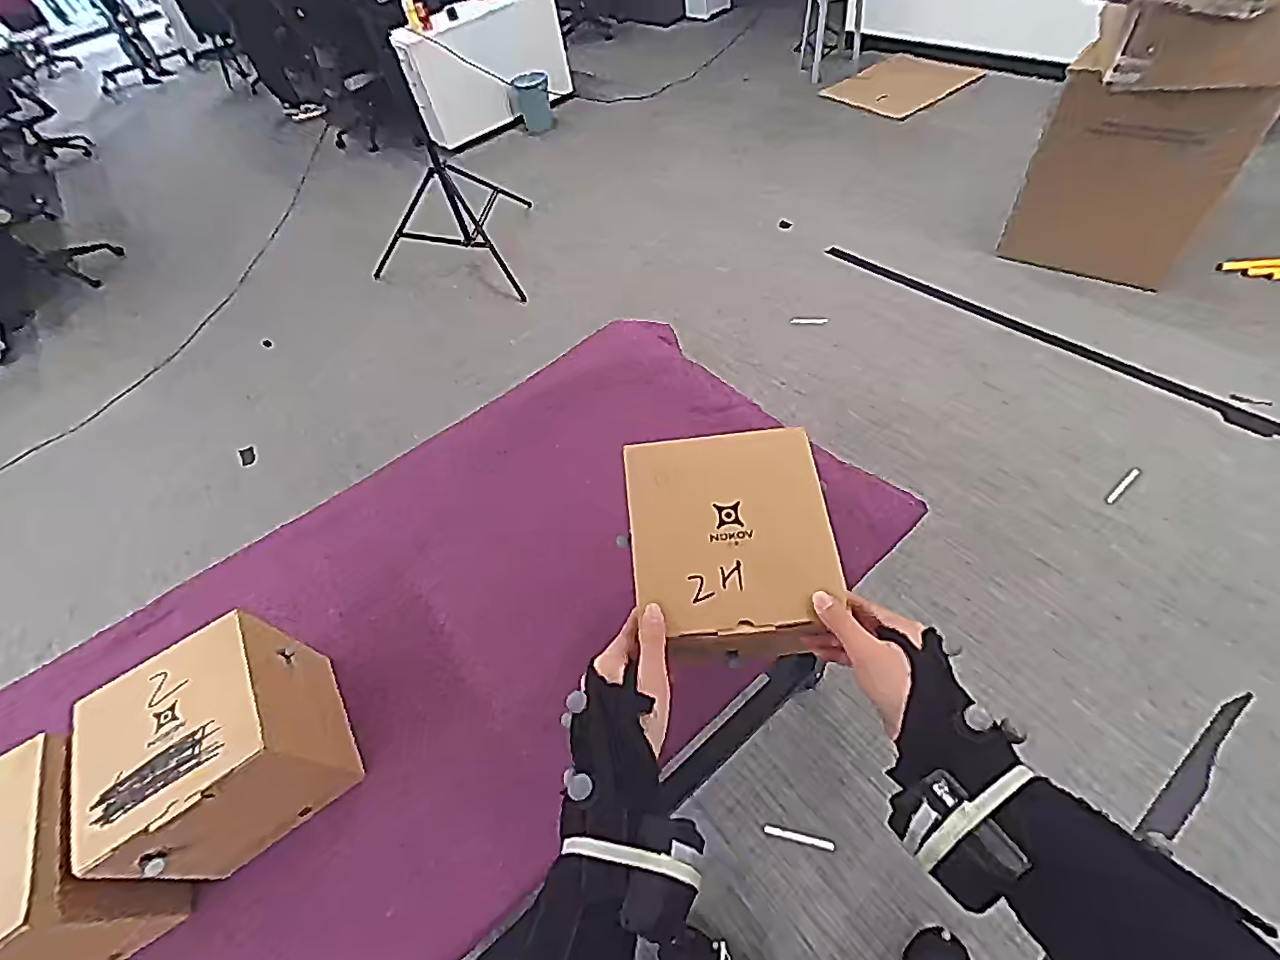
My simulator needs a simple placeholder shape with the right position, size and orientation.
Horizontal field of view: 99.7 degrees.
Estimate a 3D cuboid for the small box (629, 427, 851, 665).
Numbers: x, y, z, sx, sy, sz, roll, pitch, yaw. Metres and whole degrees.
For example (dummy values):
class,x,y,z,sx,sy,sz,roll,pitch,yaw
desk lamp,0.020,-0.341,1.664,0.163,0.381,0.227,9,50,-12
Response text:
class,x,y,z,sx,sy,sz,roll,pitch,yaw
small box,0.080,0.071,0.521,0.168,0.176,0.179,-6,64,2
